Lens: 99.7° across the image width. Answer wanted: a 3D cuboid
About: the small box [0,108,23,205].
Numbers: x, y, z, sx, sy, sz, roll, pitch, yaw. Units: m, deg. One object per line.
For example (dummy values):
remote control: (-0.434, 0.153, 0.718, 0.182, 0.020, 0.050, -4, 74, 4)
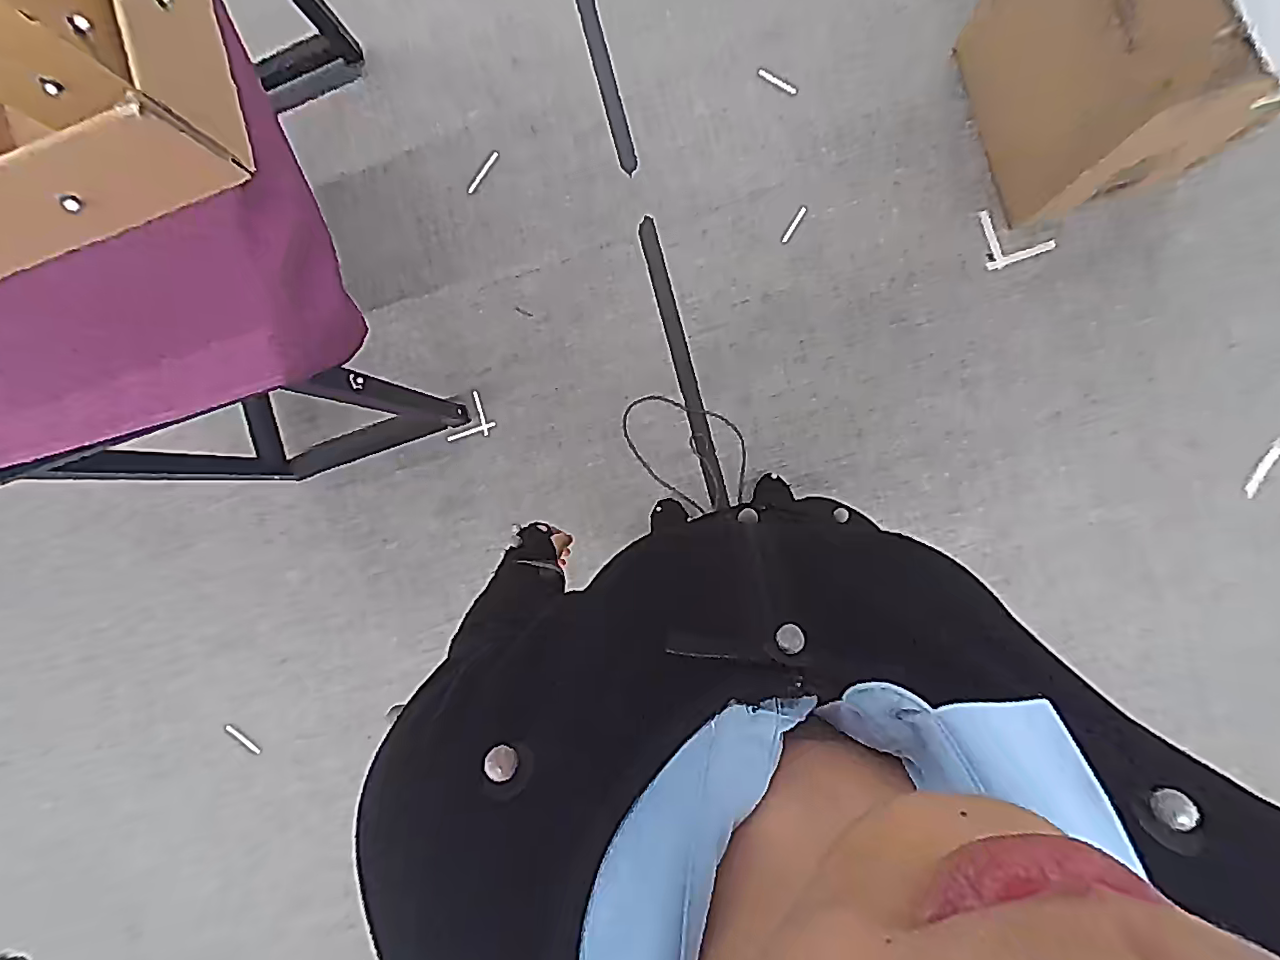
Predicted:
small box: (-1.066, -0.504, 0.773, 0.168, 0.176, 0.179, -20, 87, 5)
